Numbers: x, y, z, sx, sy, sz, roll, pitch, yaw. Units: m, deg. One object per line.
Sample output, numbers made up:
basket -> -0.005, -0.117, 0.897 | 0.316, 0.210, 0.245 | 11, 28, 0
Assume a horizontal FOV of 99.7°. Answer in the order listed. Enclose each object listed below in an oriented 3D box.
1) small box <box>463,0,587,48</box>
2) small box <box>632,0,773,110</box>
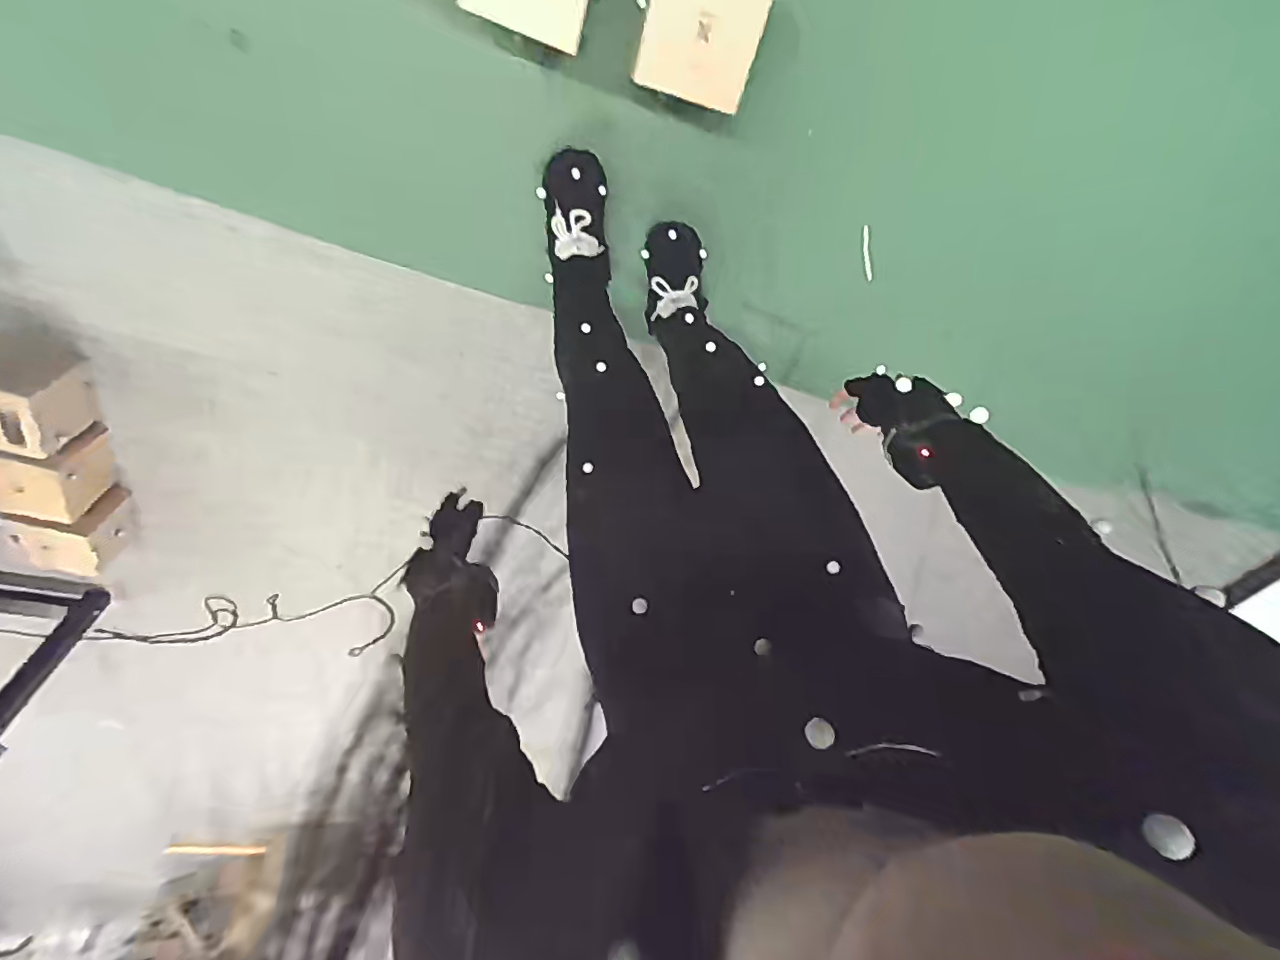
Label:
small box -> -0.147, -0.748, 0.760 | 0.168, 0.176, 0.179 | 12, 127, -16
small box -> 0.088, -0.700, 0.825 | 0.168, 0.176, 0.179 | 10, 128, -13
